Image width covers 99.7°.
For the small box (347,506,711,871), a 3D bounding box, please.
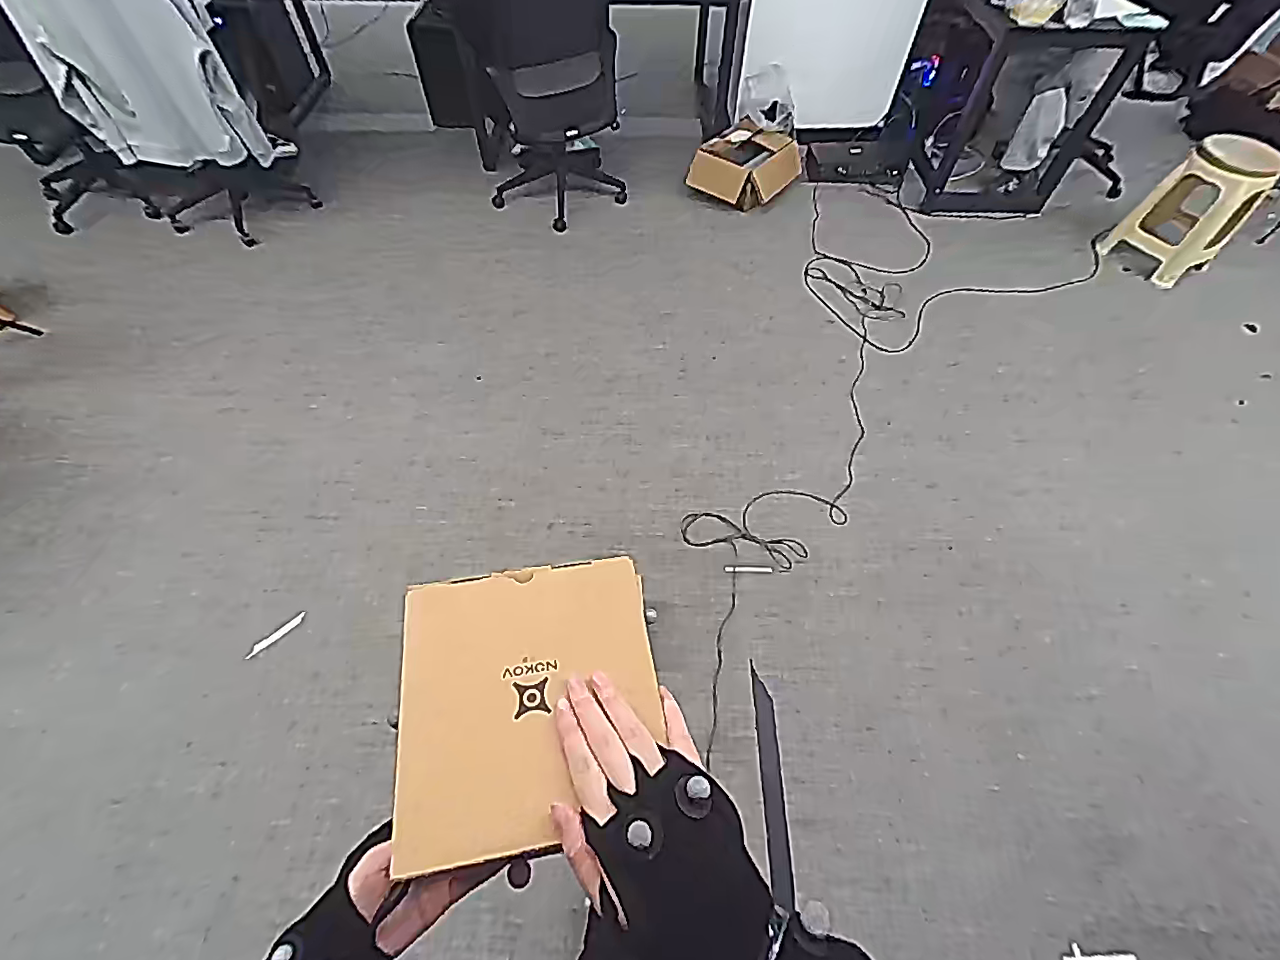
[{"bbox_3d":[-0.071,0.144,0.395,0.179,0.176,0.168,-21,38,2],"label":"small box"}]
